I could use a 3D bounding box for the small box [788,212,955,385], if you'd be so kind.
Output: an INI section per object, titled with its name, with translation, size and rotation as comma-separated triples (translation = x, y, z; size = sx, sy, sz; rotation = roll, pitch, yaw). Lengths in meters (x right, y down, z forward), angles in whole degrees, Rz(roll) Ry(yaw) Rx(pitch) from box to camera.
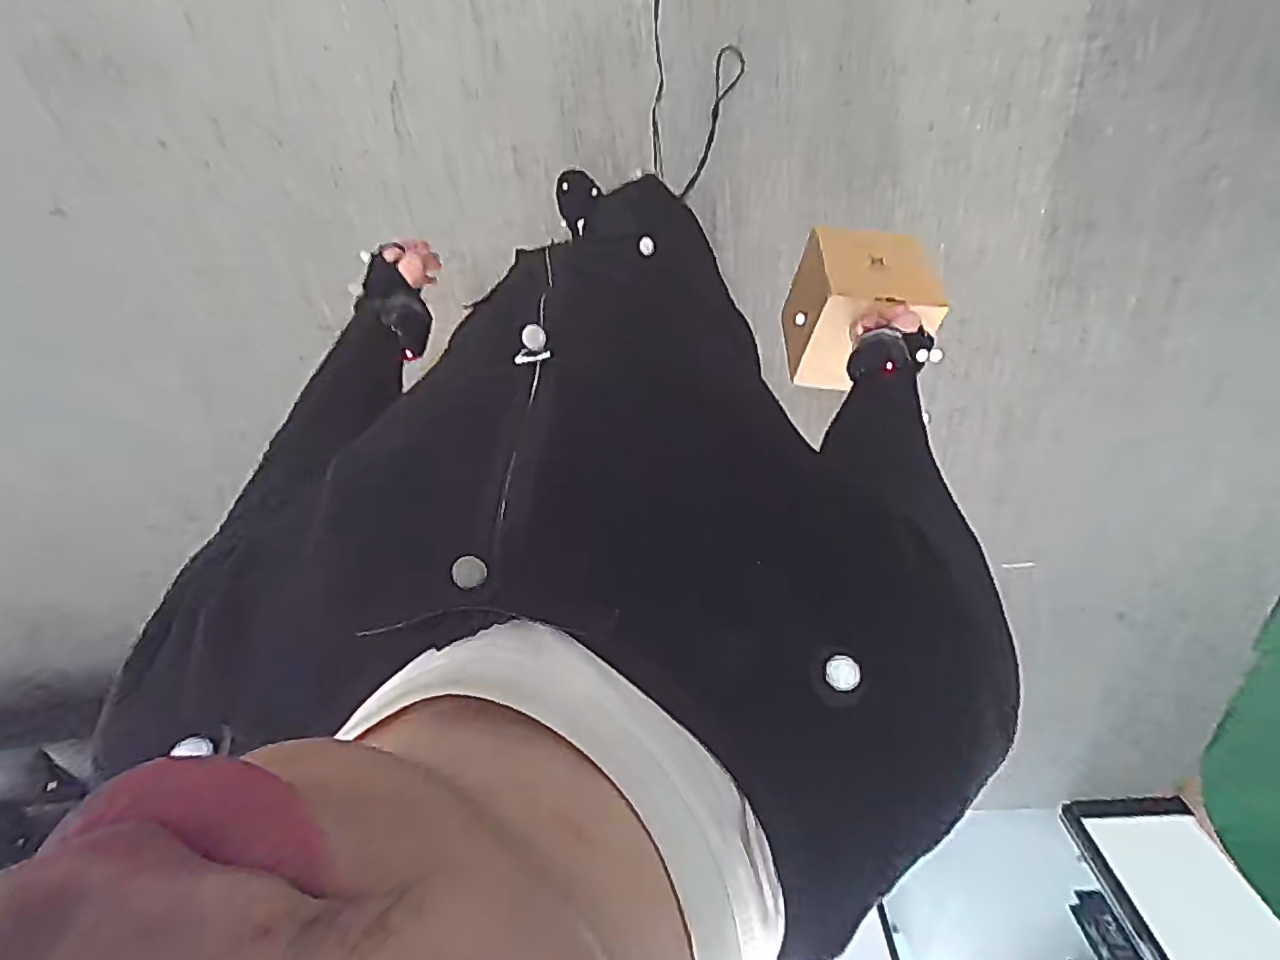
[small box]
translation = 0.330, -0.266, 0.810
size = 0.168, 0.179, 0.176
rotation = 9, 145, -1
